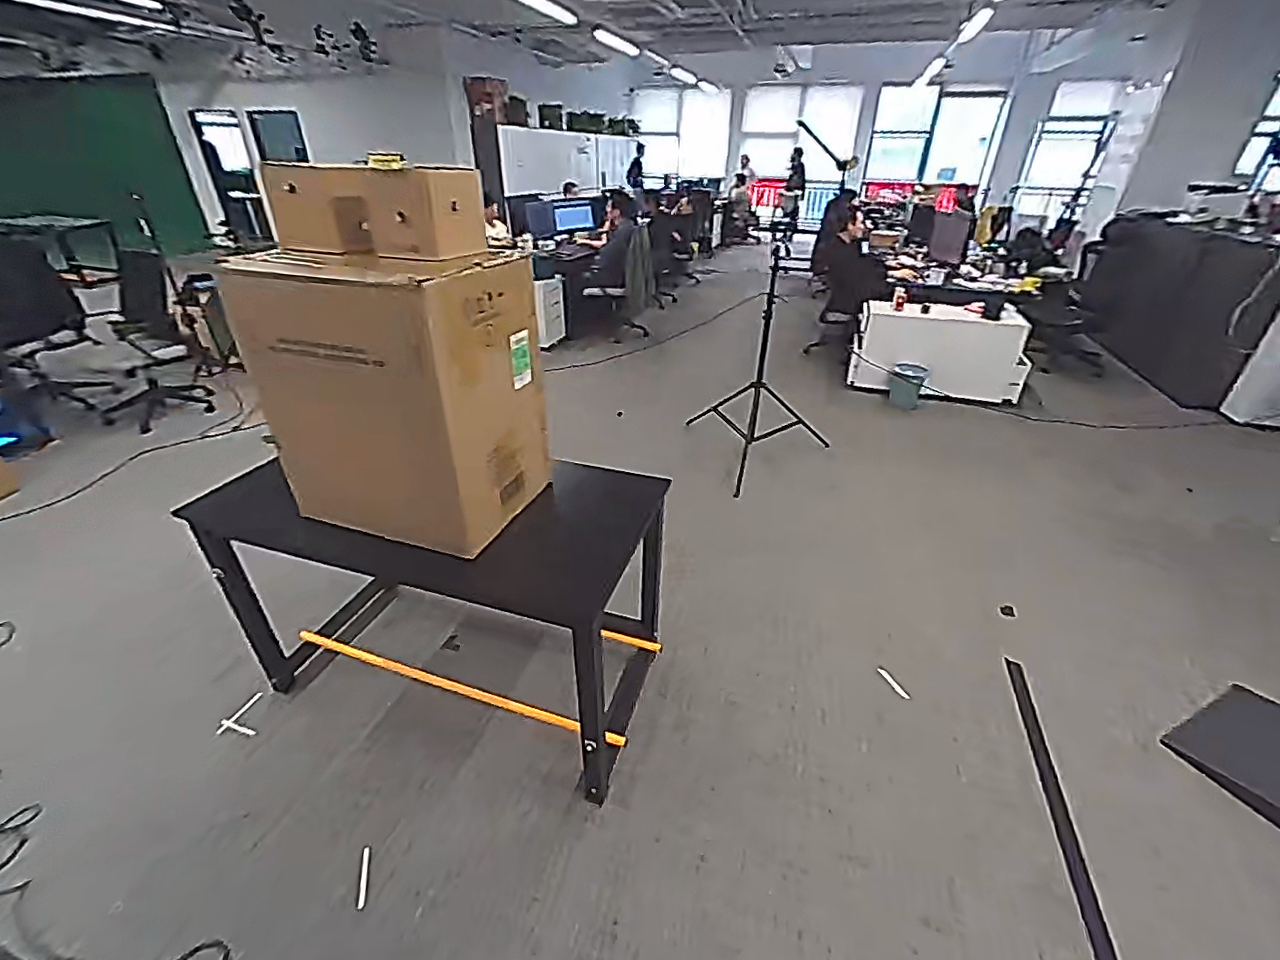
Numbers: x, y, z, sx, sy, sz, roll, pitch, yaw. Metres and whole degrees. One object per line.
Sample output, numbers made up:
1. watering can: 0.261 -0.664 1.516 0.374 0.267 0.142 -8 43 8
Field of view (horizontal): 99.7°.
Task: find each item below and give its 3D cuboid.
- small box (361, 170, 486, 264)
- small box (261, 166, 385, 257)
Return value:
1. small box: -0.449 -0.562 1.155 0.168 0.176 0.179 10 31 17
2. small box: -0.696 -0.605 1.218 0.179 0.176 0.168 12 32 14
